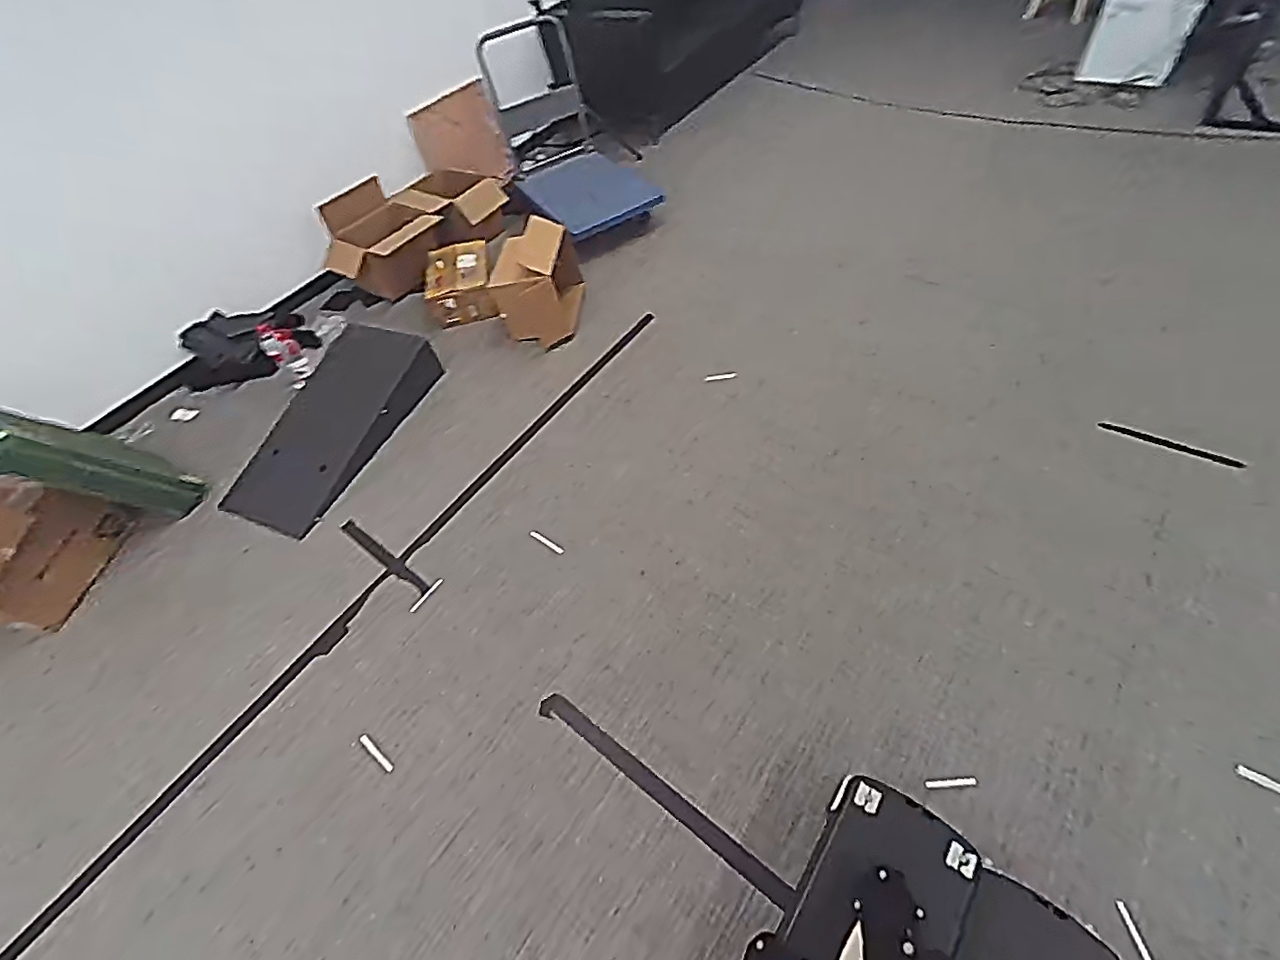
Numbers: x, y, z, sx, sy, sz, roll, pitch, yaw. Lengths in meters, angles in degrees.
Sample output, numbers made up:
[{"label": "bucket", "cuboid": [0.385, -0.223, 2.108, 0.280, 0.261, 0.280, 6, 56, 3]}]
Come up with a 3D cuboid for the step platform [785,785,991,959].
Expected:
[{"label": "step platform", "cuboid": [0.446, 1.002, 1.091, 0.286, 0.204, 0.684, 26, 61, 26]}]
